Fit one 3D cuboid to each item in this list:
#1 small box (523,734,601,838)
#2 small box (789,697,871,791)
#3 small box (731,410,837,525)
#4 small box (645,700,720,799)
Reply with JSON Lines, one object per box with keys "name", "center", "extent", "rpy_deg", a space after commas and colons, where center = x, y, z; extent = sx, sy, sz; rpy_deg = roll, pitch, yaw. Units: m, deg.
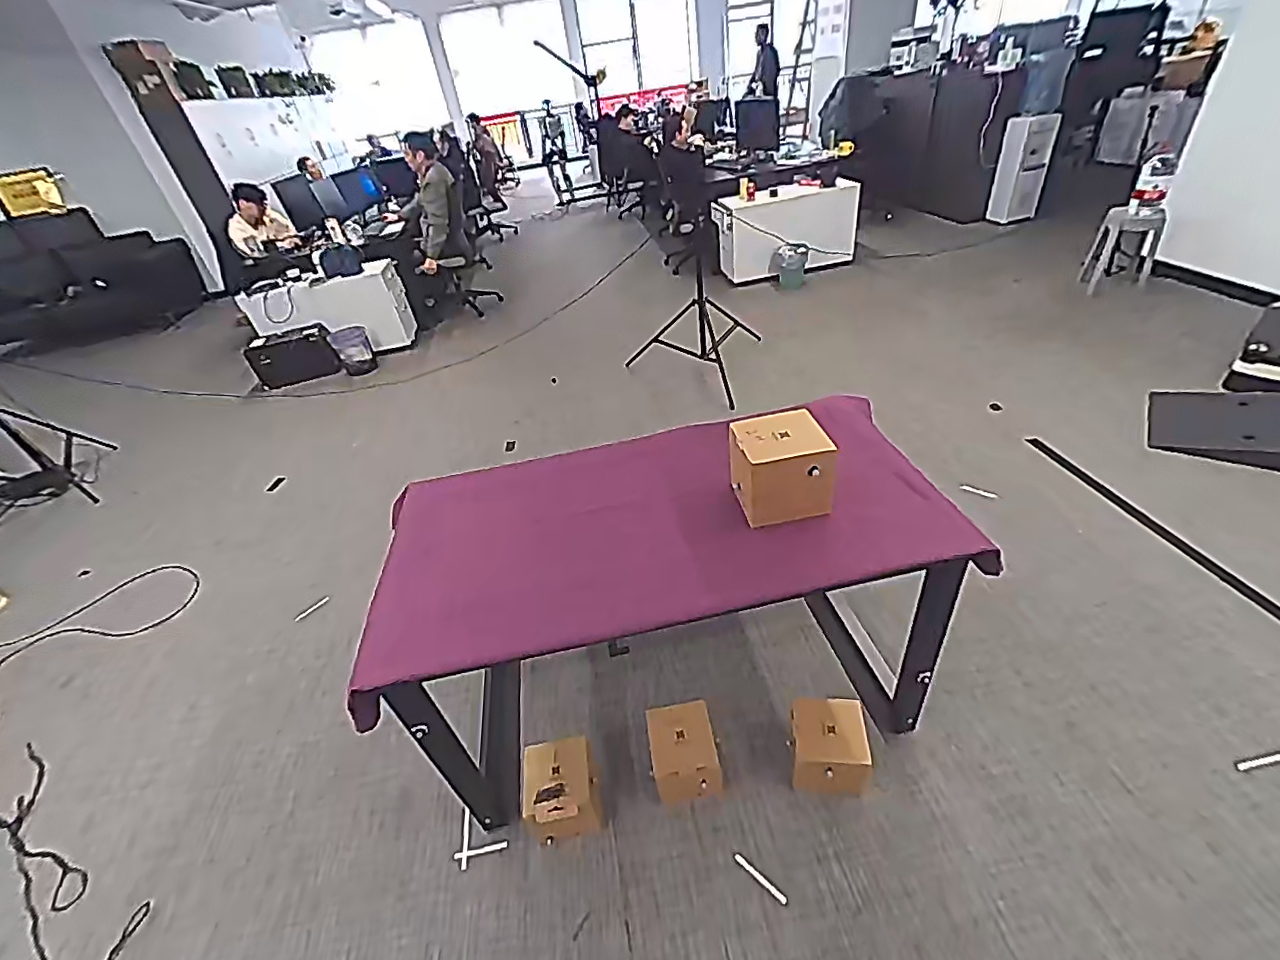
{"name": "small box", "center": [-0.200, 0.798, 1.402], "extent": [0.168, 0.176, 0.179], "rpy_deg": [-11, 36, -2]}
{"name": "small box", "center": [0.483, 0.686, 1.403], "extent": [0.179, 0.176, 0.168], "rpy_deg": [-2, 38, 11]}
{"name": "small box", "center": [0.300, -0.026, 1.159], "extent": [0.179, 0.176, 0.168], "rpy_deg": [-11, 36, -1]}
{"name": "small box", "center": [0.113, 0.721, 1.438], "extent": [0.168, 0.176, 0.179], "rpy_deg": [-10, 36, -2]}
